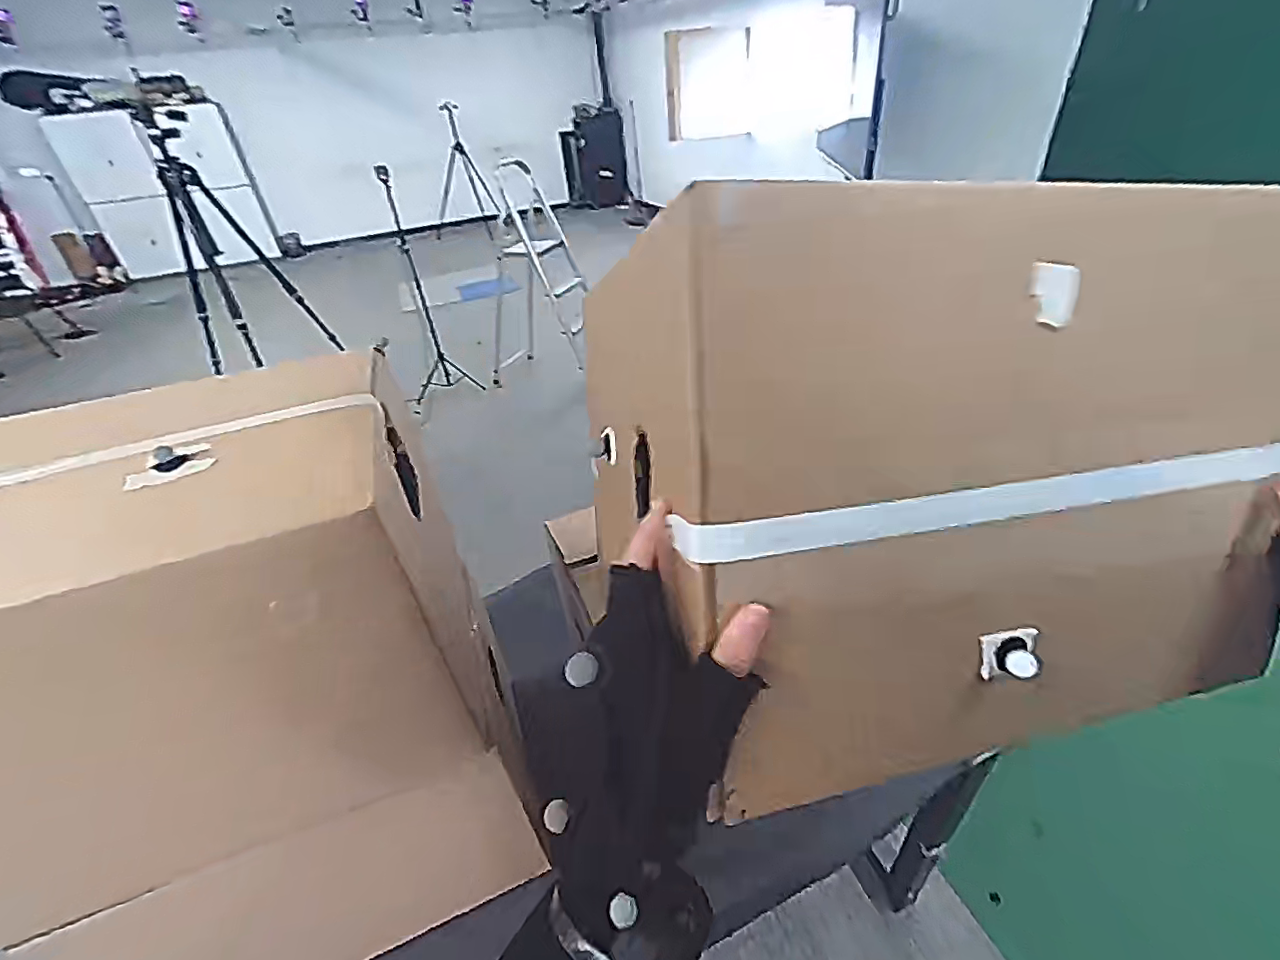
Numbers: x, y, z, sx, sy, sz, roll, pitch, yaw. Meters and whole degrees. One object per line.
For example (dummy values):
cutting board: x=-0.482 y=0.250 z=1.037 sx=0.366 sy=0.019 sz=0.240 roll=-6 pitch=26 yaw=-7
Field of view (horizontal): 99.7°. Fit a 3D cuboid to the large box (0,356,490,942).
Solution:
large box: x=-0.392 y=0.116 z=0.505 sx=0.408 sy=0.320 sz=0.320 roll=-16 pitch=38 yaw=-16
